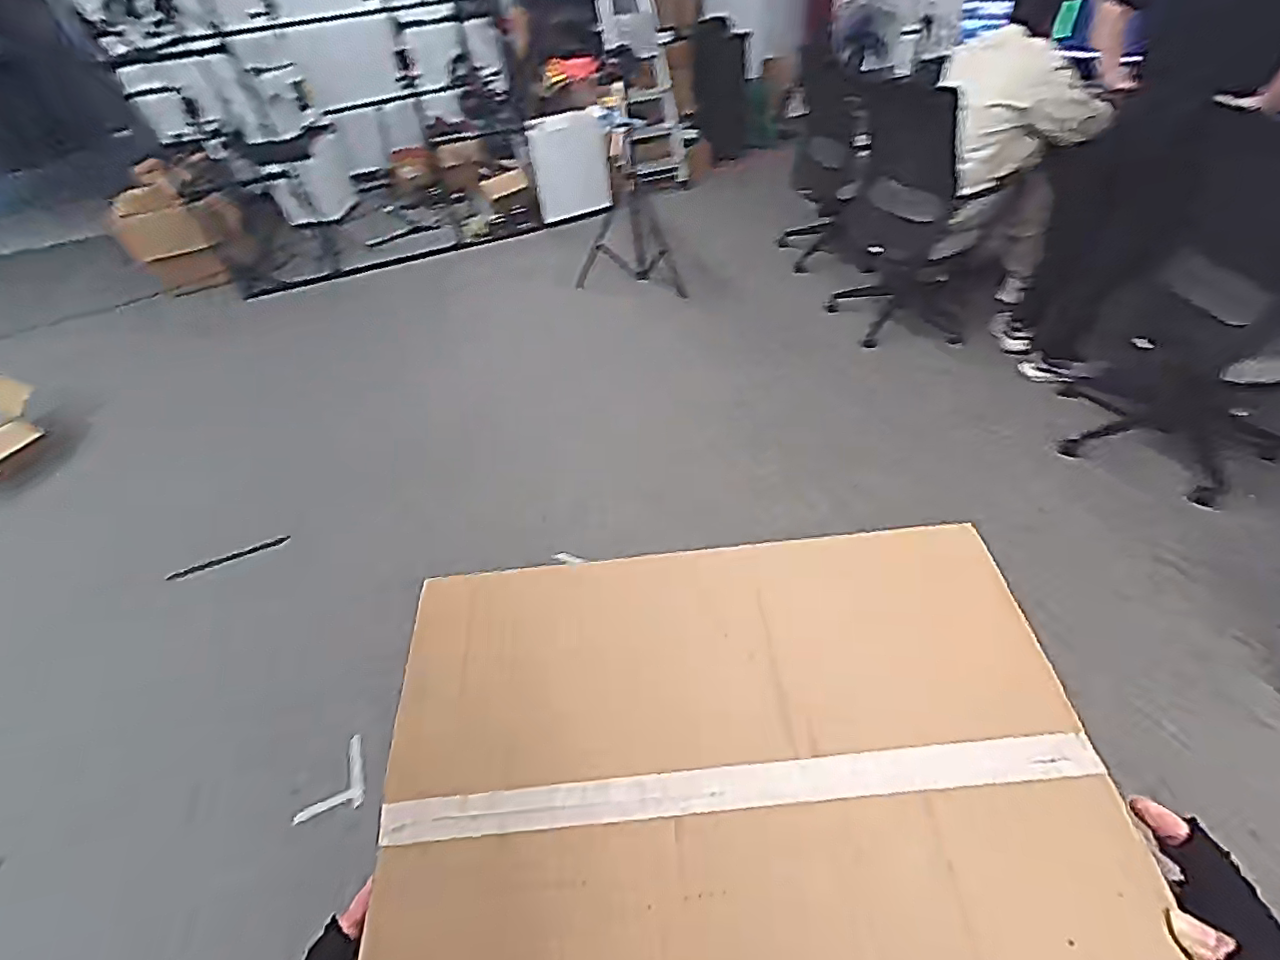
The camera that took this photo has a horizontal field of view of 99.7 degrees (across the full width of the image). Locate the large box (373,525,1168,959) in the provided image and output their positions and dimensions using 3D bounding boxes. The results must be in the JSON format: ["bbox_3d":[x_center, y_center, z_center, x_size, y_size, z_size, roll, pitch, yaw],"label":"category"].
[{"bbox_3d":[0.060,0.271,0.438,0.408,0.320,0.320,-7,54,0],"label":"large box"}]
